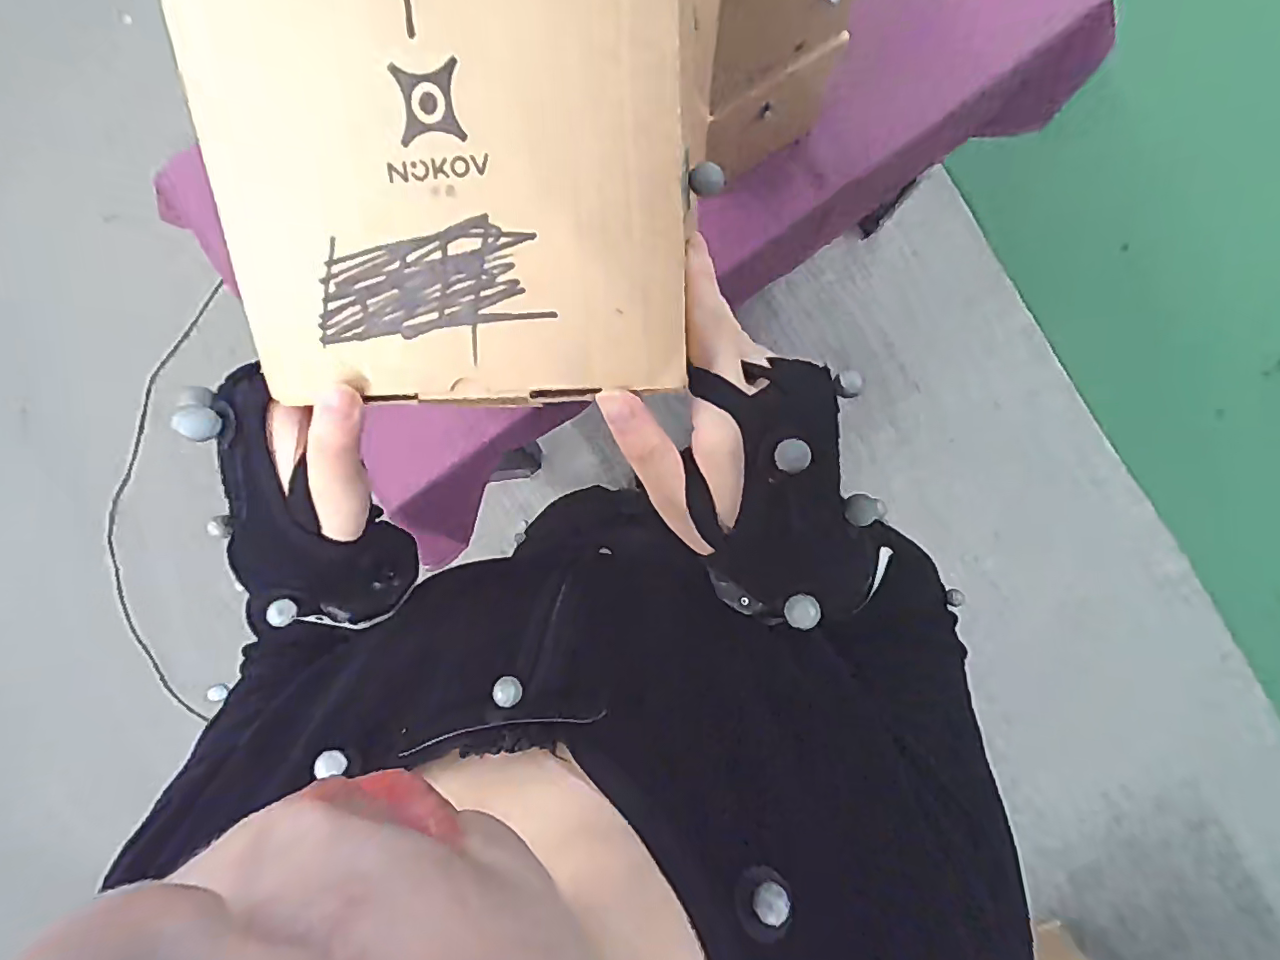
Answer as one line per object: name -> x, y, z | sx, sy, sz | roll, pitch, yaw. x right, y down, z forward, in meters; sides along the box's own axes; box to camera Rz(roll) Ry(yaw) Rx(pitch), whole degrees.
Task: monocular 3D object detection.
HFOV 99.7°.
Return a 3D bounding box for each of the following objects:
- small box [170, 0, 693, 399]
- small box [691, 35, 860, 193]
small box -> -0.061, -0.140, 0.257 | 0.168, 0.176, 0.179 | 1, 108, 8
small box -> 0.132, -0.496, 0.665 | 0.179, 0.176, 0.168 | -27, 90, 4
